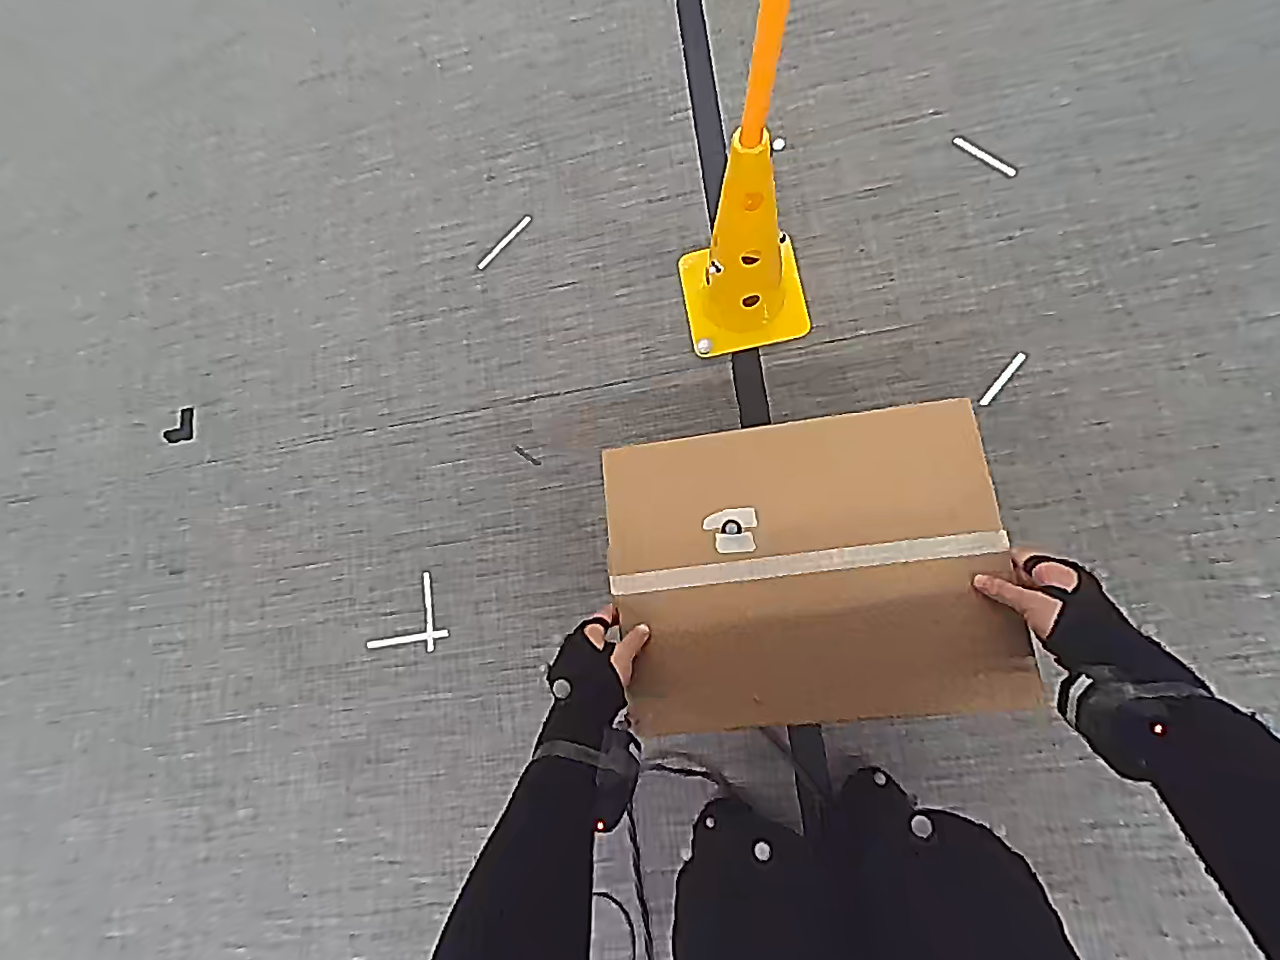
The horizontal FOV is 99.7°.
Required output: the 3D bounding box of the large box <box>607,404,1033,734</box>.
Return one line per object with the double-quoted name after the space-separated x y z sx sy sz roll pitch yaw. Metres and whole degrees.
0.199 0.124 0.726 0.408 0.320 0.320 -9 76 9 "large box"
